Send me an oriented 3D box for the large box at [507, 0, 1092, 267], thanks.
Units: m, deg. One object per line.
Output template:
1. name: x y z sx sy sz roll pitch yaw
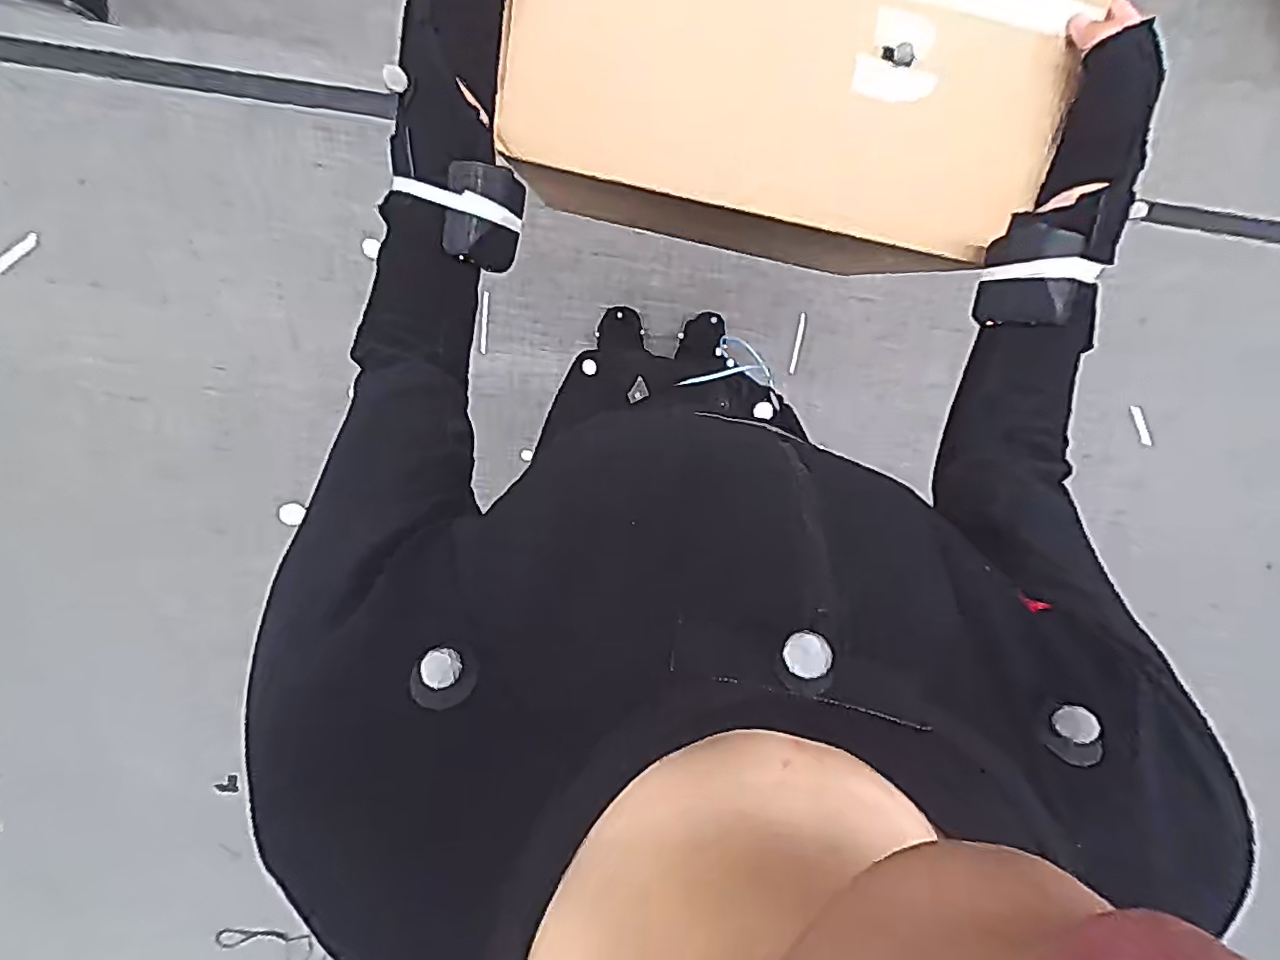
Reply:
1. large box: 0.112 -0.403 0.510 0.408 0.320 0.320 10 110 -7
